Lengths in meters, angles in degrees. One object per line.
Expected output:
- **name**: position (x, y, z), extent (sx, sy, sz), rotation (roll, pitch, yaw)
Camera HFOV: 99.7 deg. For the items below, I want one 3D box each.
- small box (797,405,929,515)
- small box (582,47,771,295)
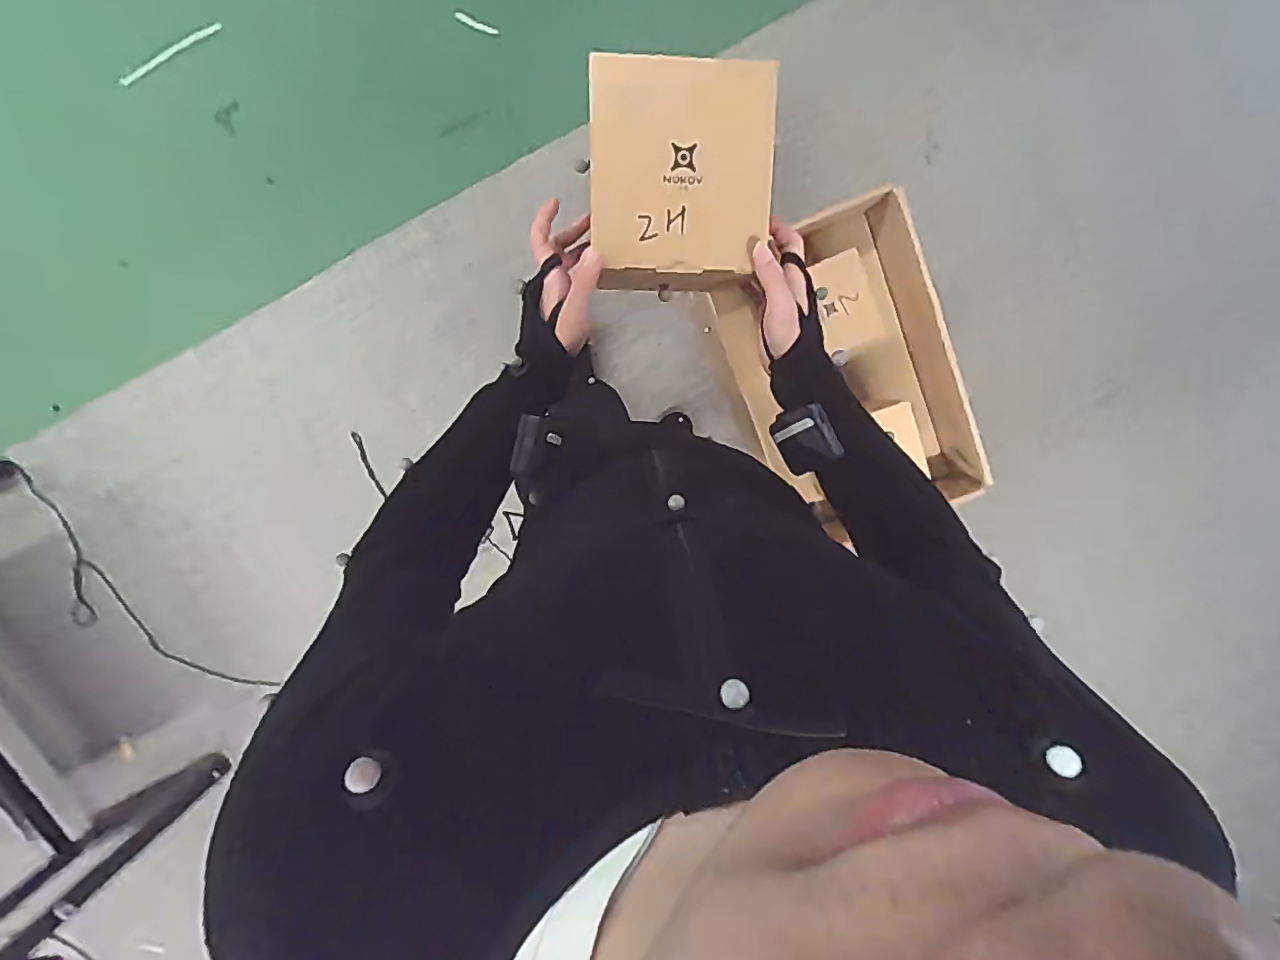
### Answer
- **small box**: position (0.442, -0.048, 1.097), extent (0.179, 0.176, 0.168), rotation (-20, 99, 4)
- **small box**: position (0.024, -0.295, 0.555), extent (0.168, 0.176, 0.179), rotation (0, 103, -4)
